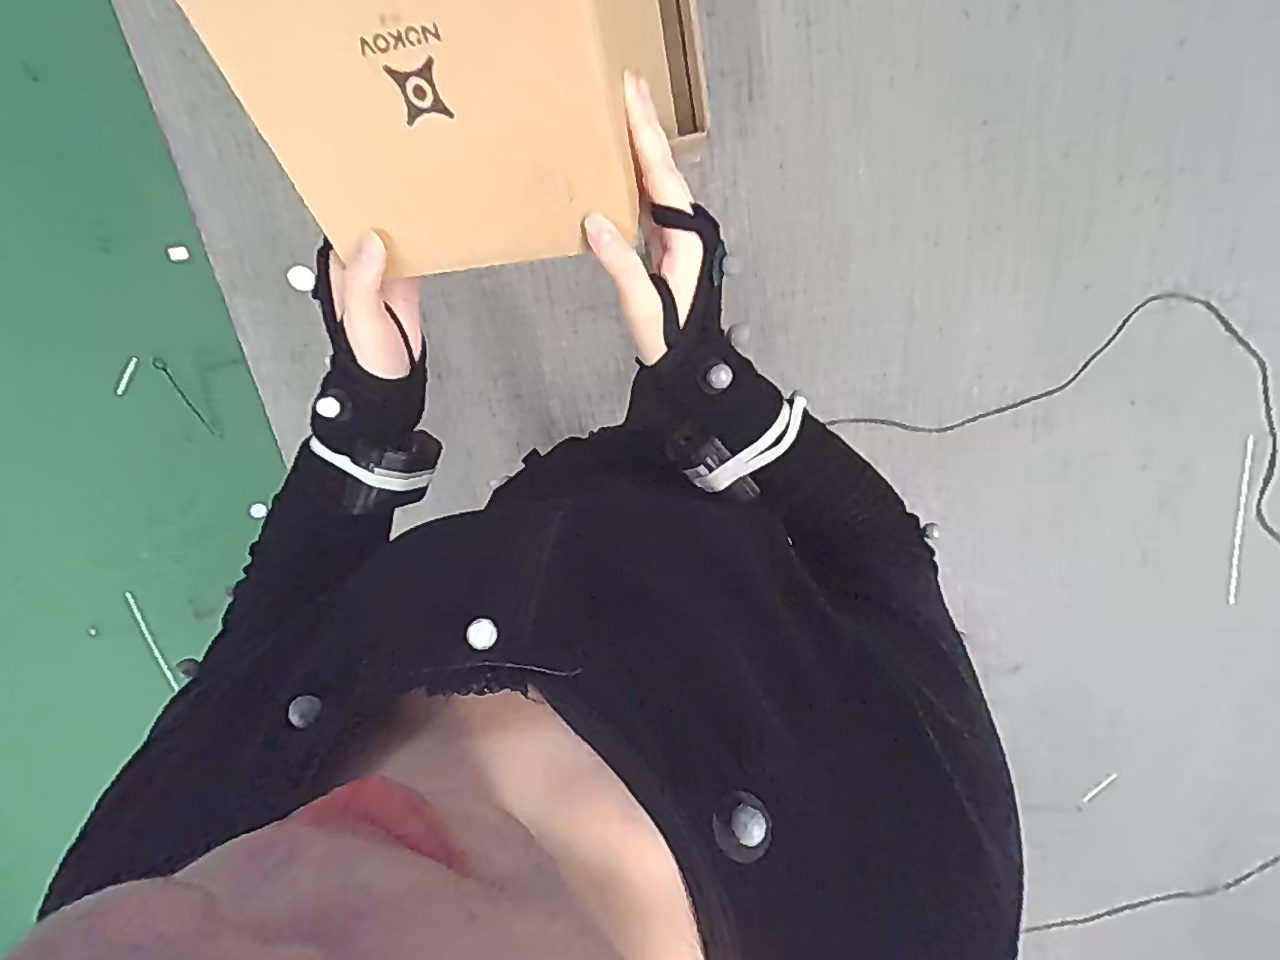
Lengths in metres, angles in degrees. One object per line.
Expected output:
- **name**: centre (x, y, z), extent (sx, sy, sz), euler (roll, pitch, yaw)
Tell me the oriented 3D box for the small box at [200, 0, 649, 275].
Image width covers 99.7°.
- **small box**: centre (-0.089, -0.240, 0.290), extent (0.168, 0.176, 0.179), euler (-4, 140, 9)
